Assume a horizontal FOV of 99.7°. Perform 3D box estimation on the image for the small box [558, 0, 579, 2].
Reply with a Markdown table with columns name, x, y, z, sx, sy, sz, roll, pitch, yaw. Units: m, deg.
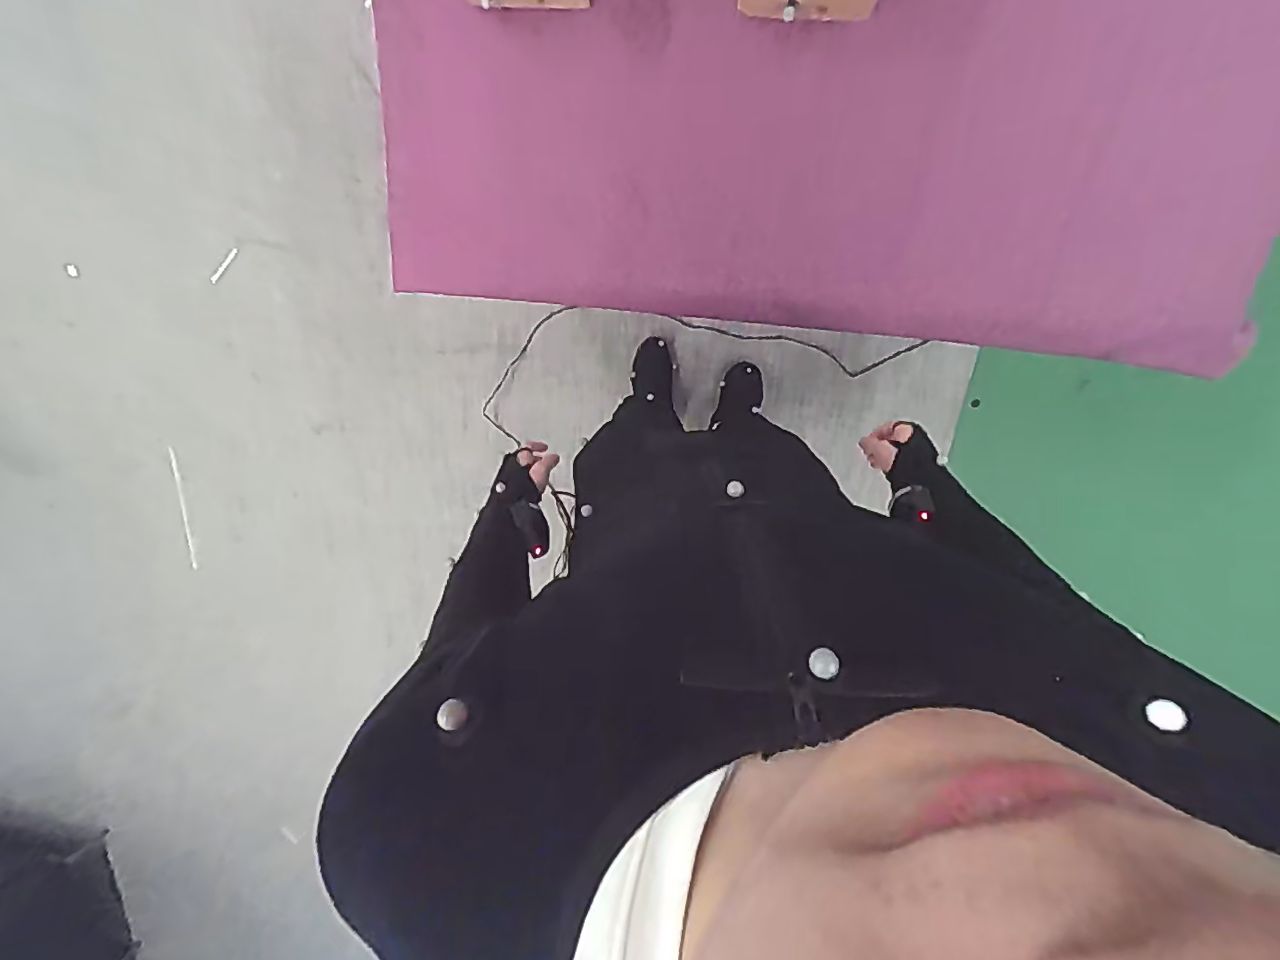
| name | x | y | z | sx | sy | sz | roll | pitch | yaw |
| --- | --- | --- | --- | --- | --- | --- | --- | --- | --- |
| small box | -0.152 | -0.697 | 0.623 | 0.168 | 0.176 | 0.179 | 7 | 108 | 6 |

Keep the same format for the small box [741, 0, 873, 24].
| name | x | y | z | sx | sy | sz | roll | pitch | yaw |
| --- | --- | --- | --- | --- | --- | --- | --- | --- | --- |
| small box | 0.202 | -0.648 | 0.590 | 0.168 | 0.176 | 0.179 | 8 | 109 | 6 |
